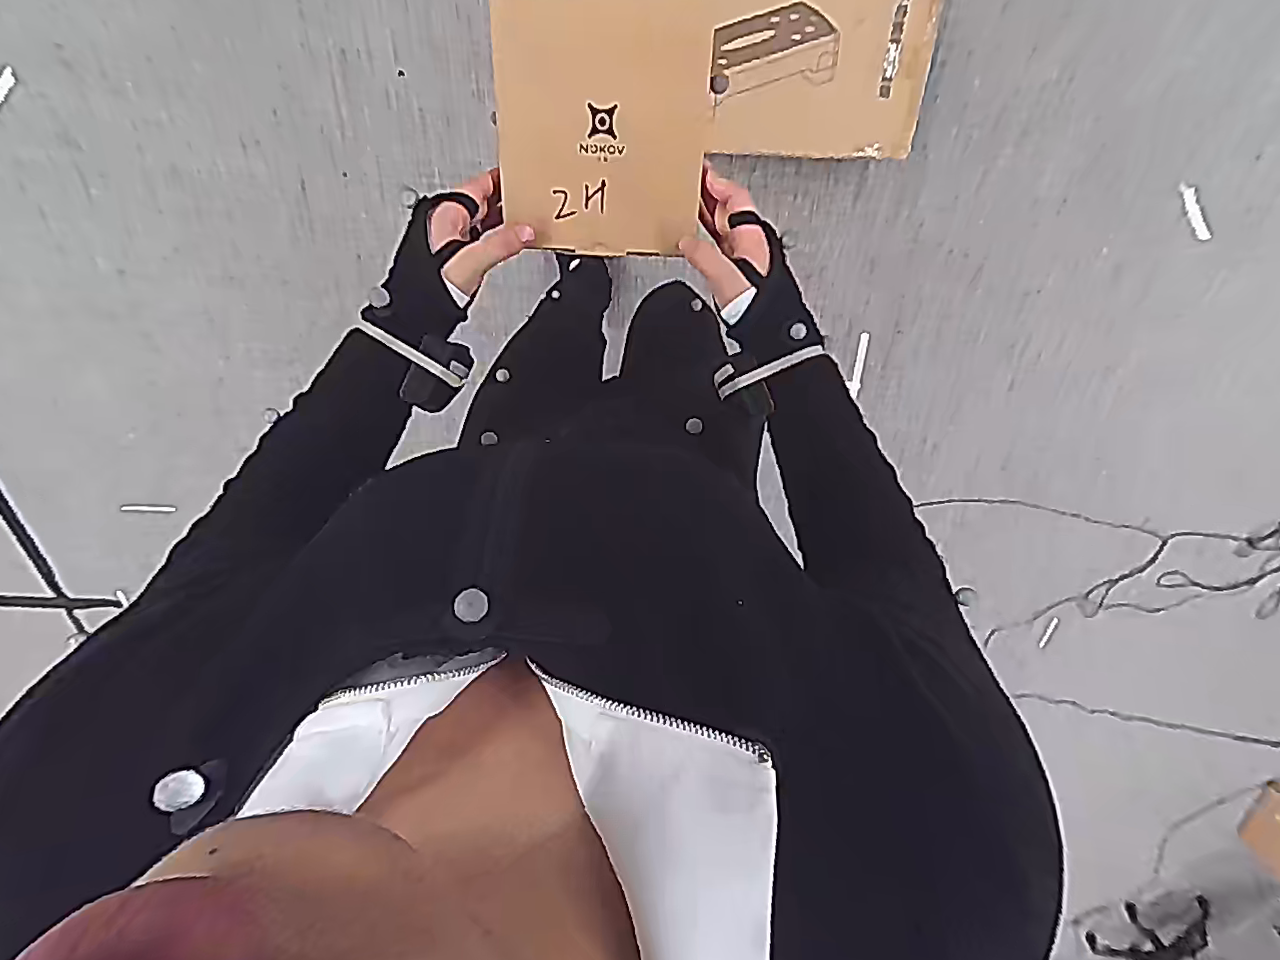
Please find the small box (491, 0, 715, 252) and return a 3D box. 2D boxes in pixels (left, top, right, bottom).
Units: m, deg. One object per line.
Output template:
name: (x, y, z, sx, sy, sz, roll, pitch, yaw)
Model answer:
small box: (-0.030, -0.314, 0.495, 0.168, 0.176, 0.179, 4, 118, 1)
